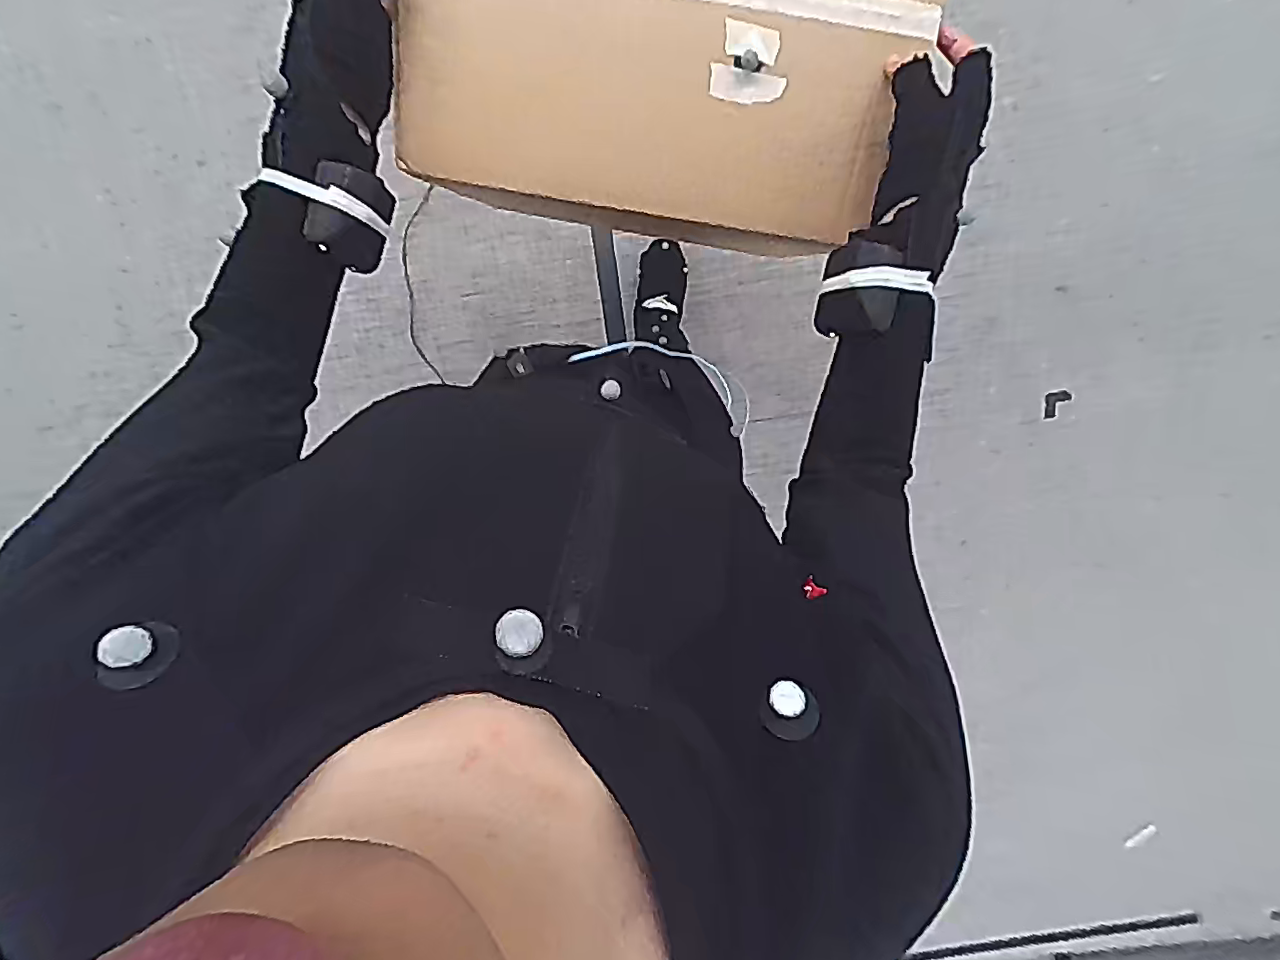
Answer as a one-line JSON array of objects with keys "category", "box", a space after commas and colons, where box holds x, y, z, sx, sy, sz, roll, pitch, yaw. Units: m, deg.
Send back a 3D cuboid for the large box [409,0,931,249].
[{"category": "large box", "box": [0.022, -0.431, 0.547, 0.408, 0.320, 0.320, 8, 112, -4]}]
